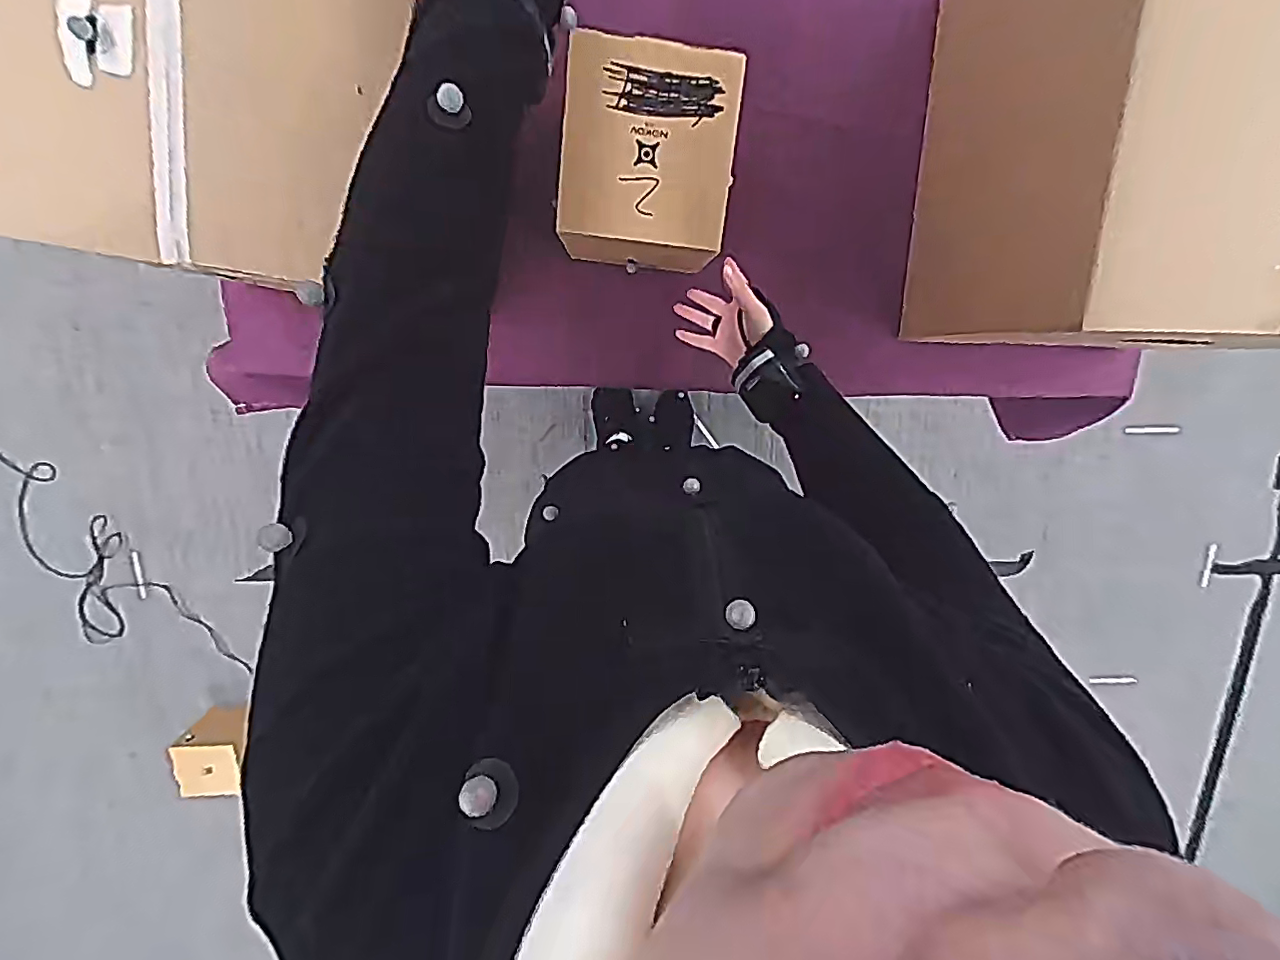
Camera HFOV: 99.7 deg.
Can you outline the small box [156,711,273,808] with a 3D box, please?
[{"bbox_3d":[-1.205,0.791,1.531,0.168,0.176,0.179,2,123,16],"label":"small box"}]
